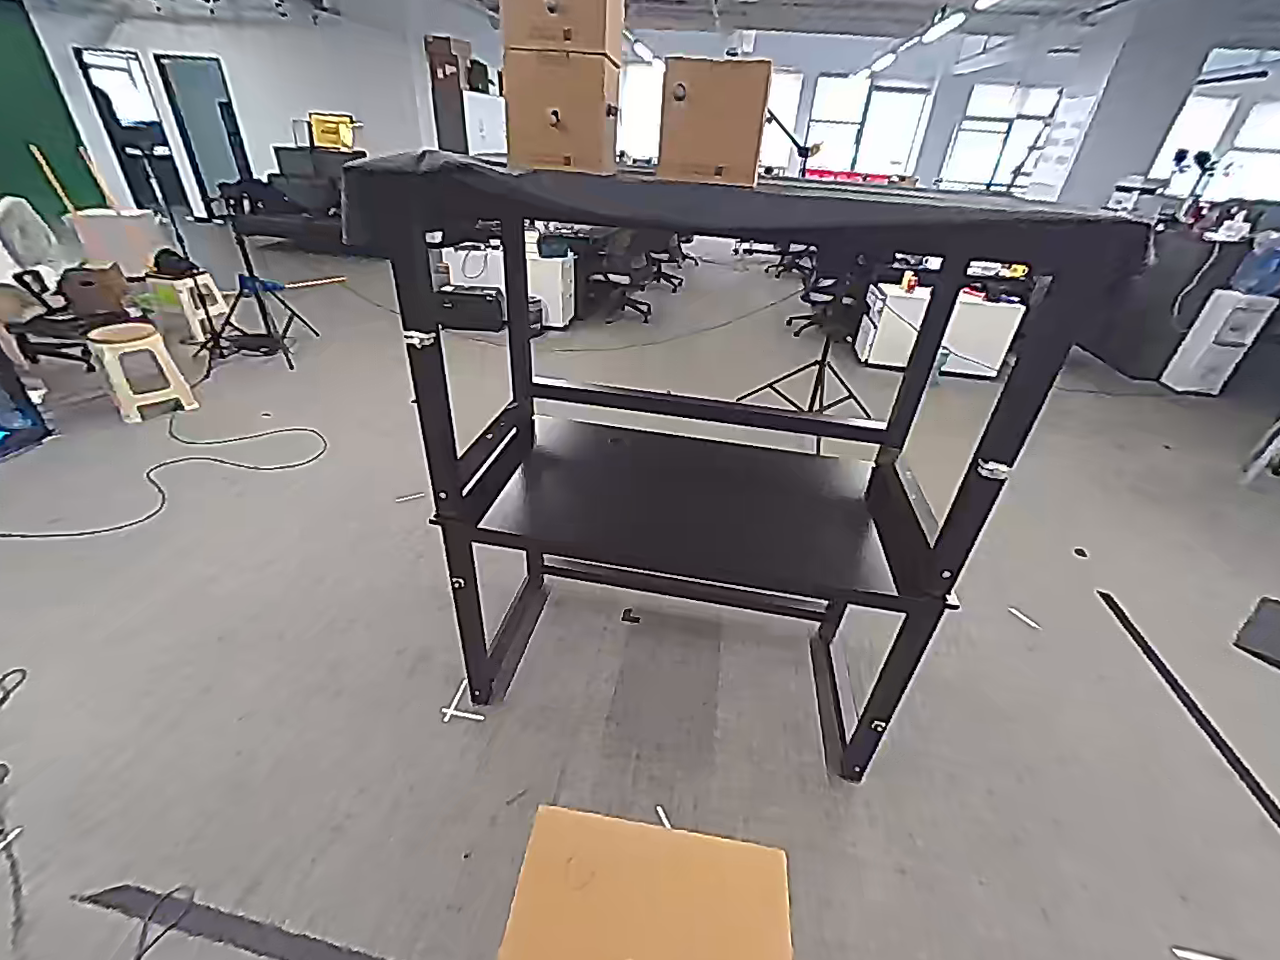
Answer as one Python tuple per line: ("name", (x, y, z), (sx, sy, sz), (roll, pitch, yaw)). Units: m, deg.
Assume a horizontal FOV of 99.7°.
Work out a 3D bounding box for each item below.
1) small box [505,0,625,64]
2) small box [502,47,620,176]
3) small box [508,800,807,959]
("small box", (-0.116, -0.776, 0.861), (0.168, 0.176, 0.179), (6, 31, 4))
("small box", (-0.129, -0.634, 0.944), (0.168, 0.176, 0.179), (7, 32, 3))
("small box", (0.000, 0.336, 0.329), (0.168, 0.176, 0.179), (8, 37, 3))
